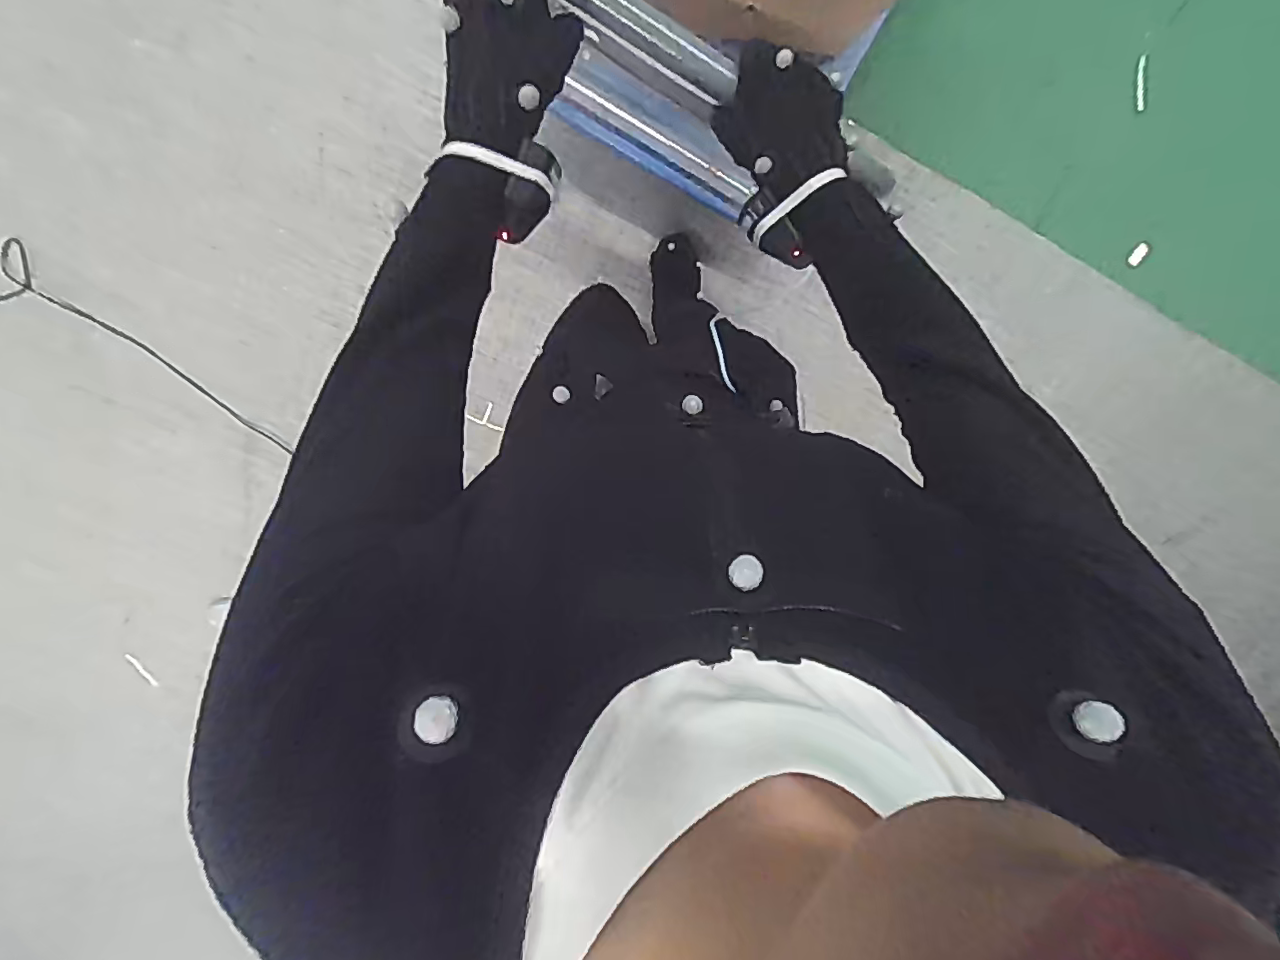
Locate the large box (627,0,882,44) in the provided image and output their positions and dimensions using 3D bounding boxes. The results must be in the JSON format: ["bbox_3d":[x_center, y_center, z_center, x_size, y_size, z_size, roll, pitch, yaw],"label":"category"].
[{"bbox_3d":[0.192,-0.905,0.799,0.408,0.320,0.320,7,112,-3],"label":"large box"}]
